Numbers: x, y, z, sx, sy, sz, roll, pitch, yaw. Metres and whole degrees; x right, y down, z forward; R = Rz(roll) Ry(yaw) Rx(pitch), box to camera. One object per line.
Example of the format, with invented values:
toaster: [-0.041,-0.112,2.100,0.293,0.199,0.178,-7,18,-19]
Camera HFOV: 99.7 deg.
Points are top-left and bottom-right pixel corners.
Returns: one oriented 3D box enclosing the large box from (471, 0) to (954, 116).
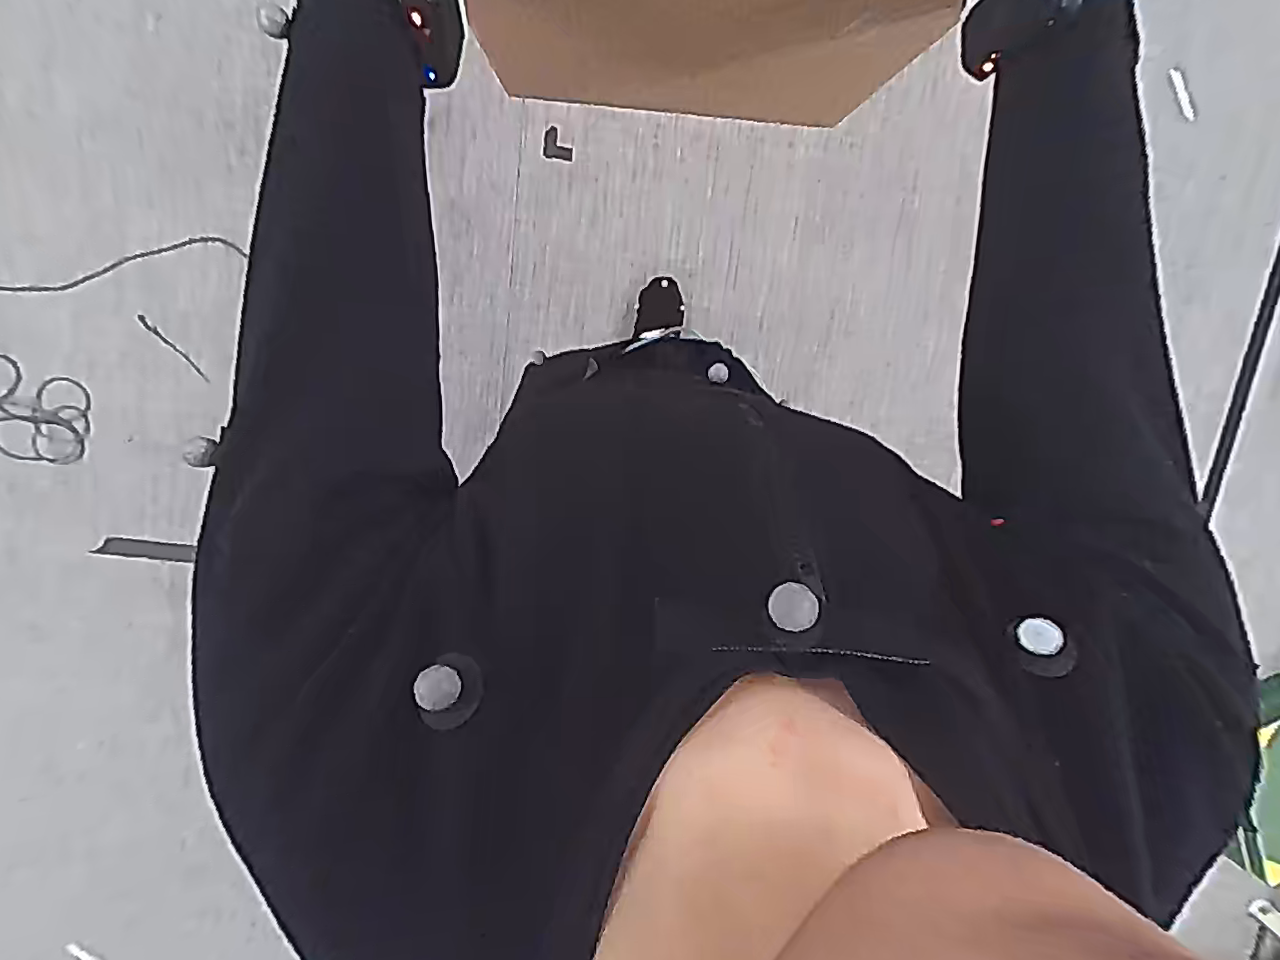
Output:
large box: [0.055,-0.559,0.477,0.408,0.320,0.320,3,109,-4]
